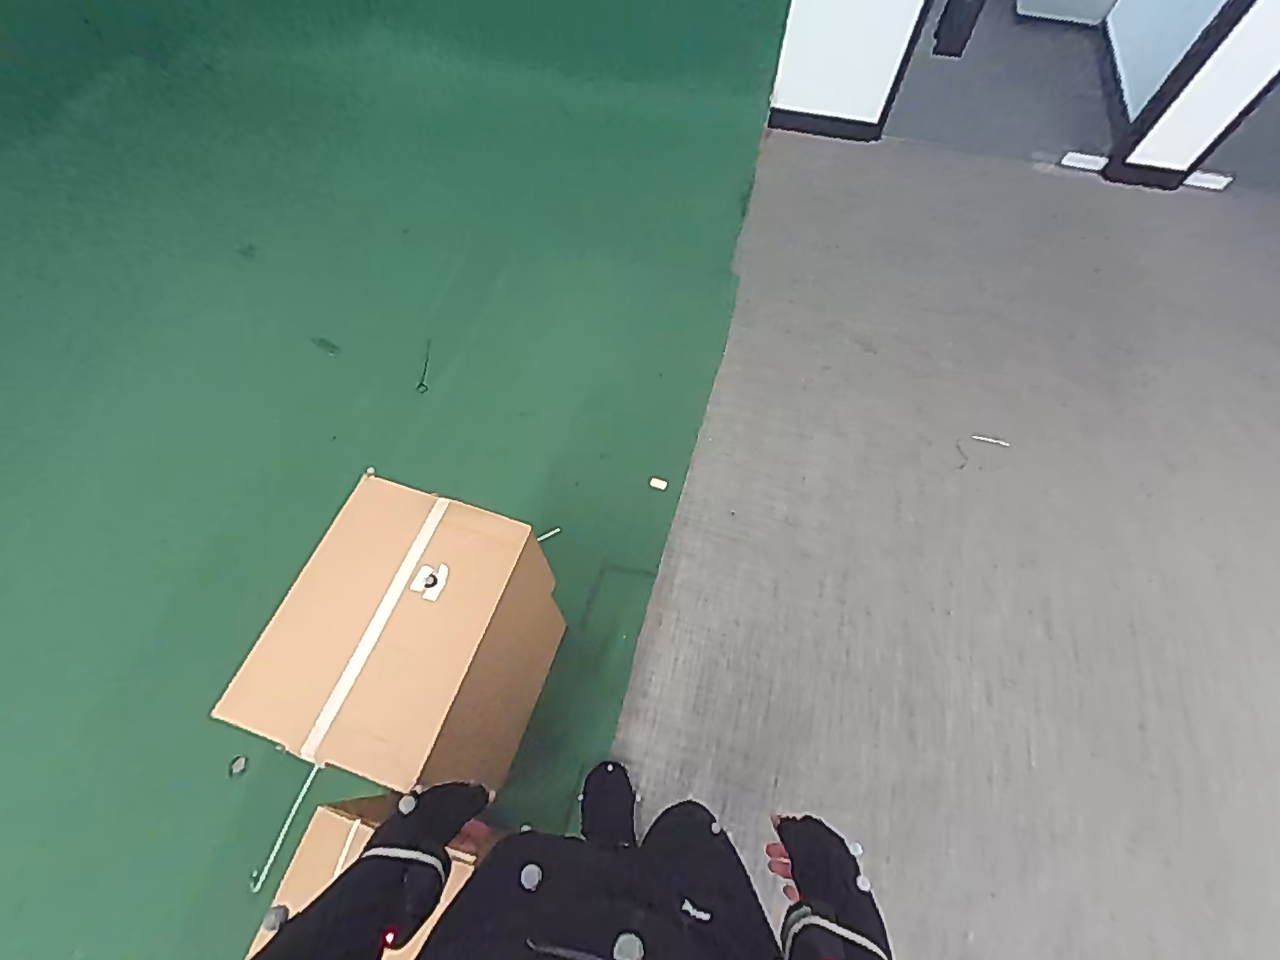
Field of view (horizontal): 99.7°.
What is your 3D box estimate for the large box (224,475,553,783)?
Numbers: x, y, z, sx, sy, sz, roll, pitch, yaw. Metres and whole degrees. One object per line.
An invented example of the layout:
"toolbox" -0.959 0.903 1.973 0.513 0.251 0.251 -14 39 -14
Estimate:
"large box" -0.384 0.268 0.951 0.320 0.320 0.408 17 63 7
